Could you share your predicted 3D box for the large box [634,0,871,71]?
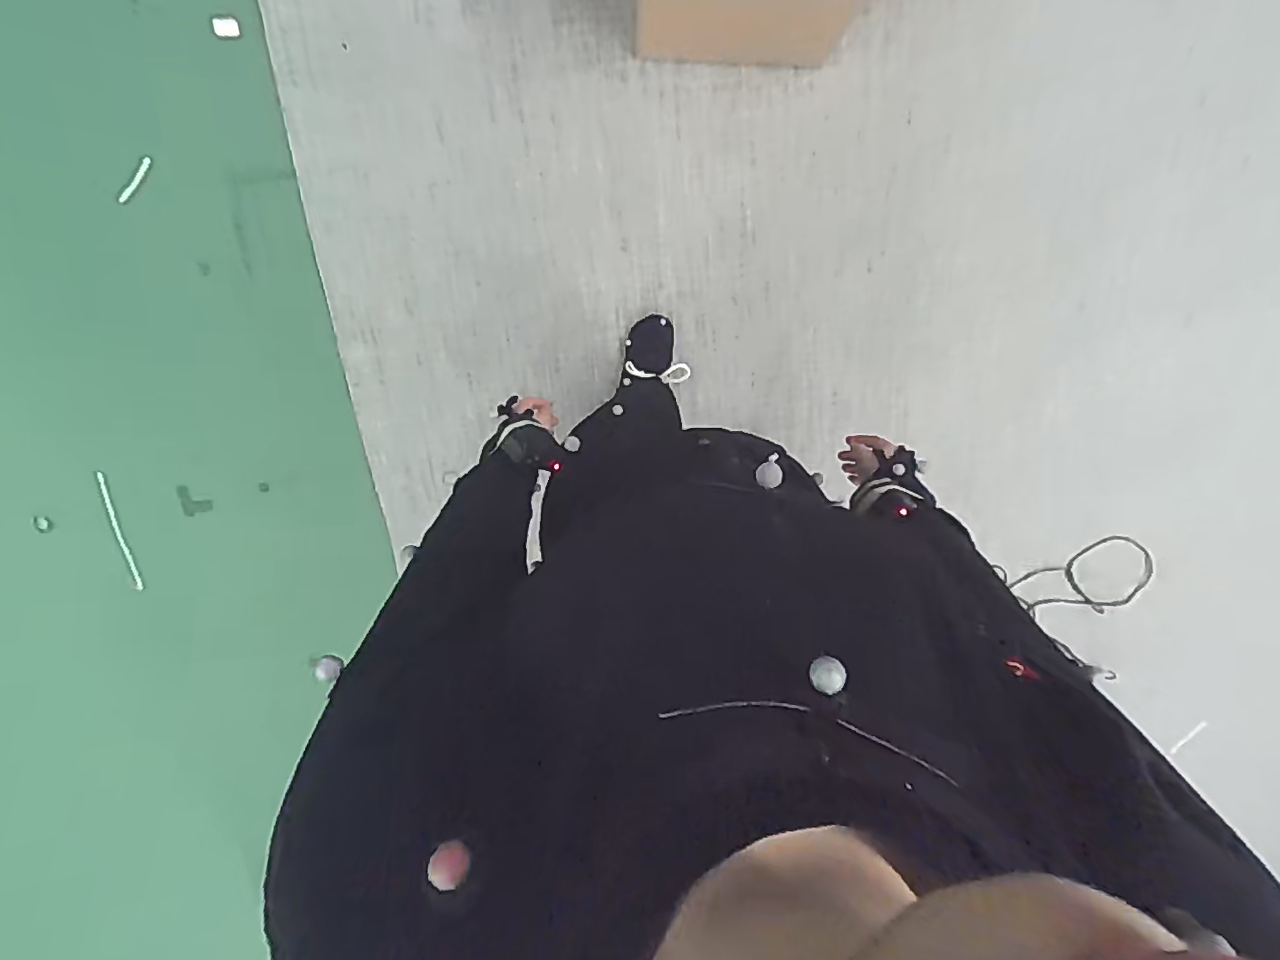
[{"bbox_3d":[0.192,-0.978,0.965,0.408,0.320,0.320,-1,105,-3],"label":"large box"}]
